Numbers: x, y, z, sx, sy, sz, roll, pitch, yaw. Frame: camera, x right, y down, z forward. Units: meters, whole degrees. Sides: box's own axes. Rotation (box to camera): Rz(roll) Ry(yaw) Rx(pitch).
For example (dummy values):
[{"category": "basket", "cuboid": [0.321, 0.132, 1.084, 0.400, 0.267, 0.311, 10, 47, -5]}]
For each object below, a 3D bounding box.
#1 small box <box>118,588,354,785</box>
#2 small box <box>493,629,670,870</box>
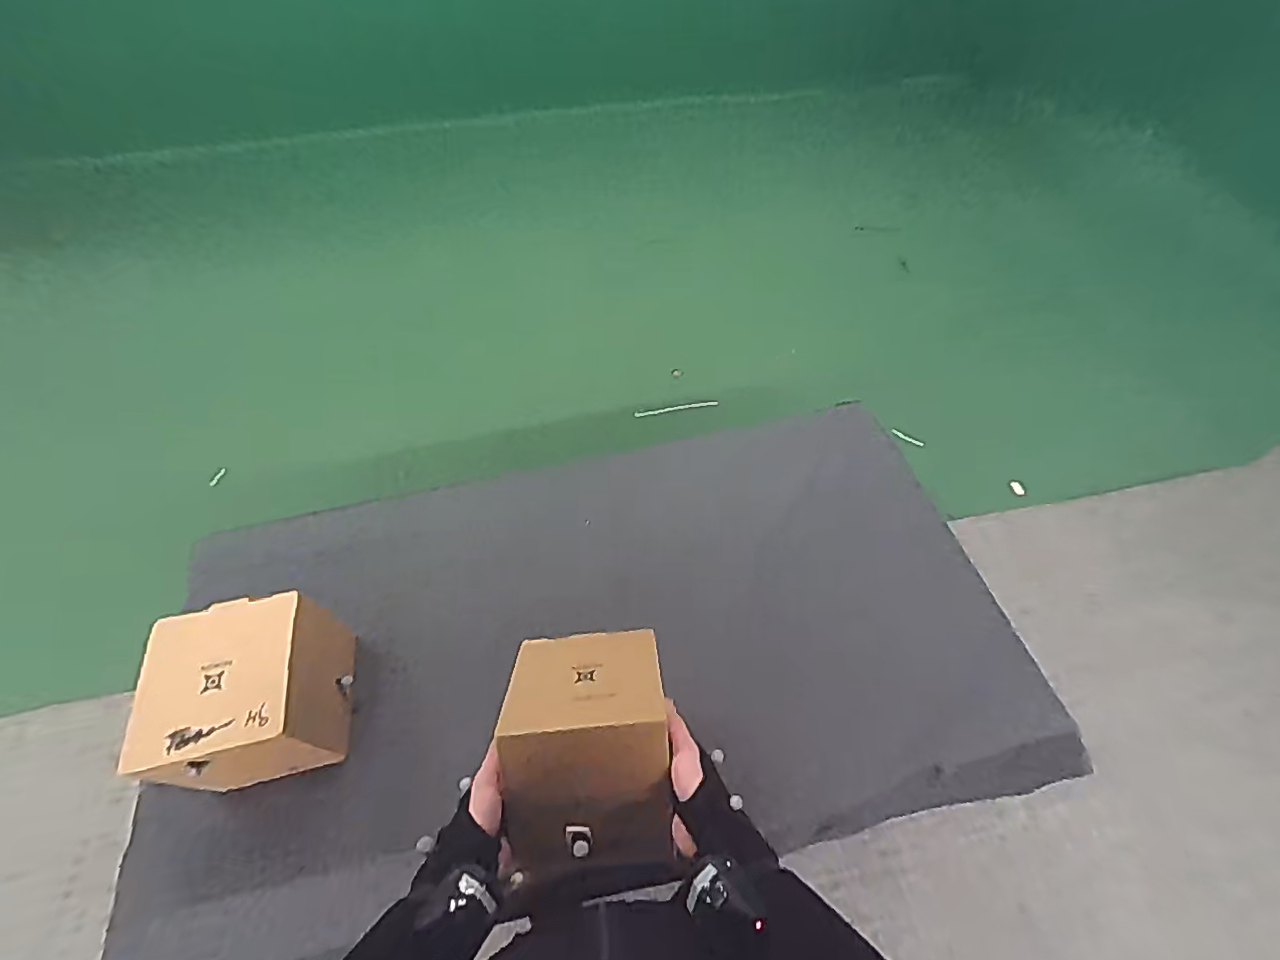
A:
[{"category": "small box", "cuboid": [-0.483, 0.264, 0.684, 0.168, 0.176, 0.179, -12, 56, -7]}, {"category": "small box", "cuboid": [-0.057, 0.290, 0.608, 0.168, 0.176, 0.179, -4, 15, -2]}]
